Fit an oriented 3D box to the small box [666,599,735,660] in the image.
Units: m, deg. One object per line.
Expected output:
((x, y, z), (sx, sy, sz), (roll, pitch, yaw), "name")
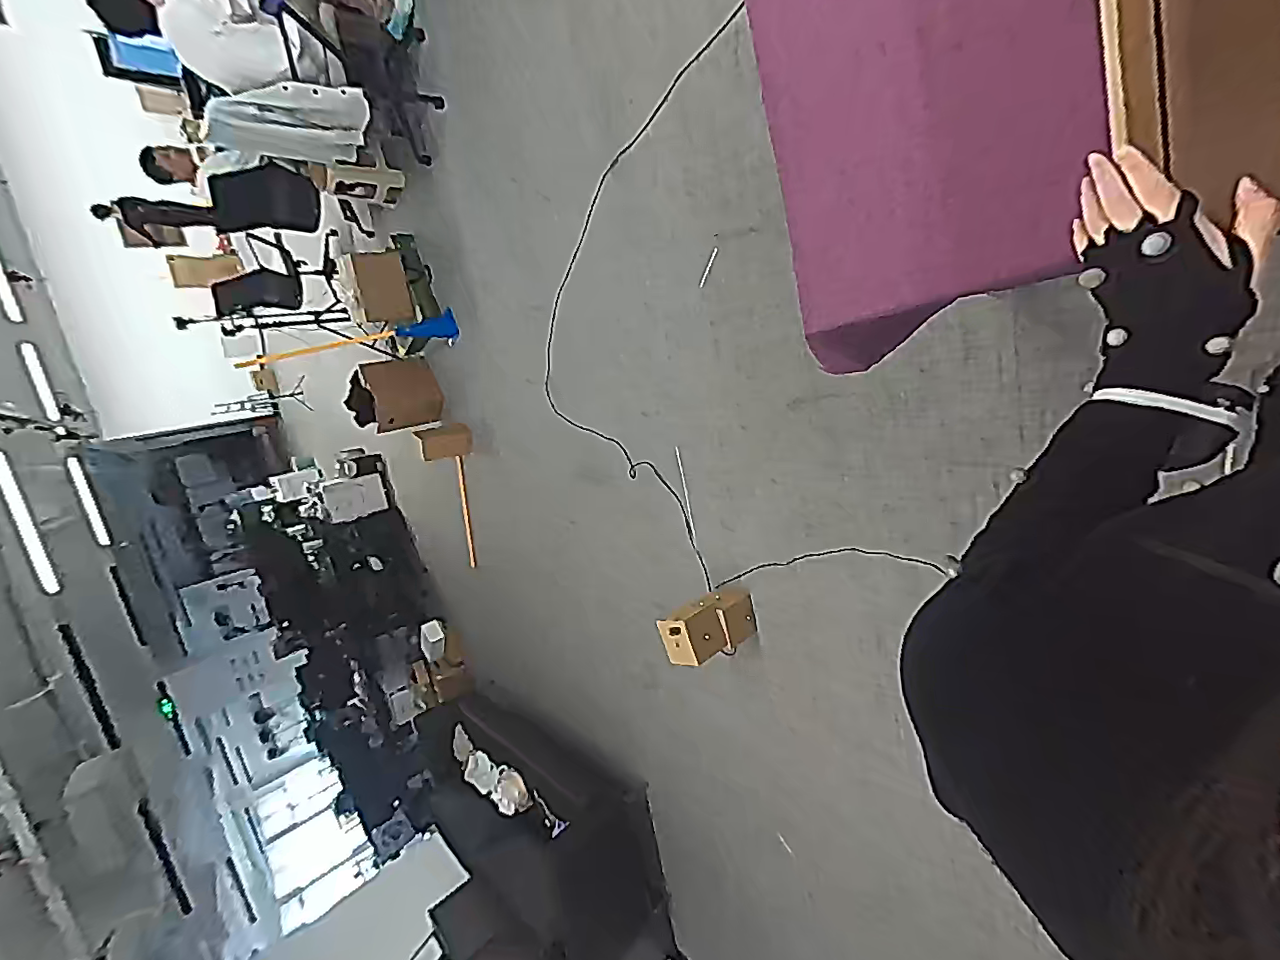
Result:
((0.233, 0.565, 2.069), (0.168, 0.176, 0.179), (-18, 92, 54), "small box")
